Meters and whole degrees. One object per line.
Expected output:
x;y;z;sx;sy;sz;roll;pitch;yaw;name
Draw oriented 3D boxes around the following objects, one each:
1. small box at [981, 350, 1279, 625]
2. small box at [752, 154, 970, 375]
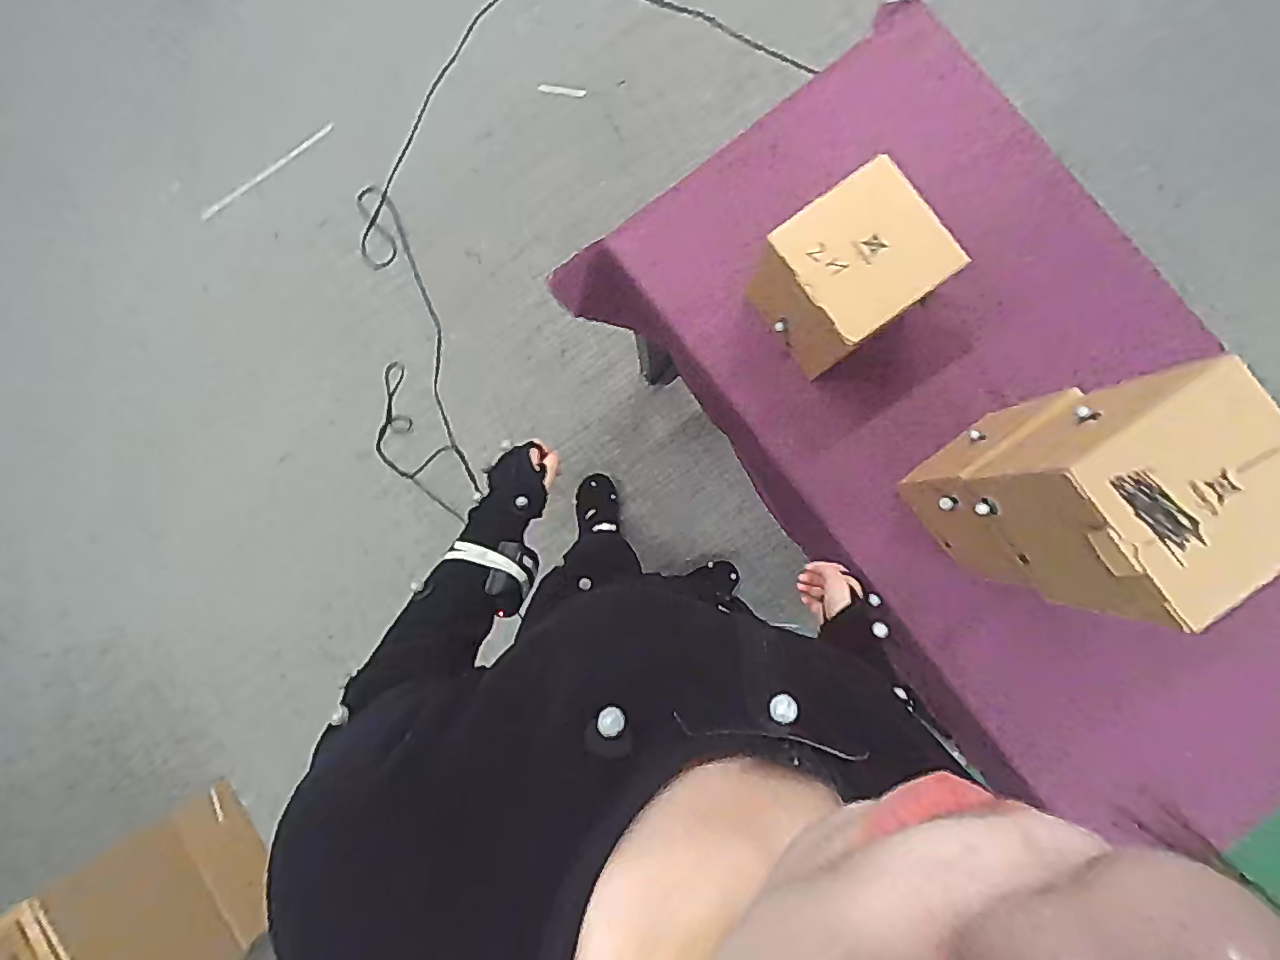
0.473;0.012;0.520;0.179;0.176;0.168;-35;86;-1;small box
0.271;-0.267;0.711;0.179;0.176;0.168;-35;85;0;small box
